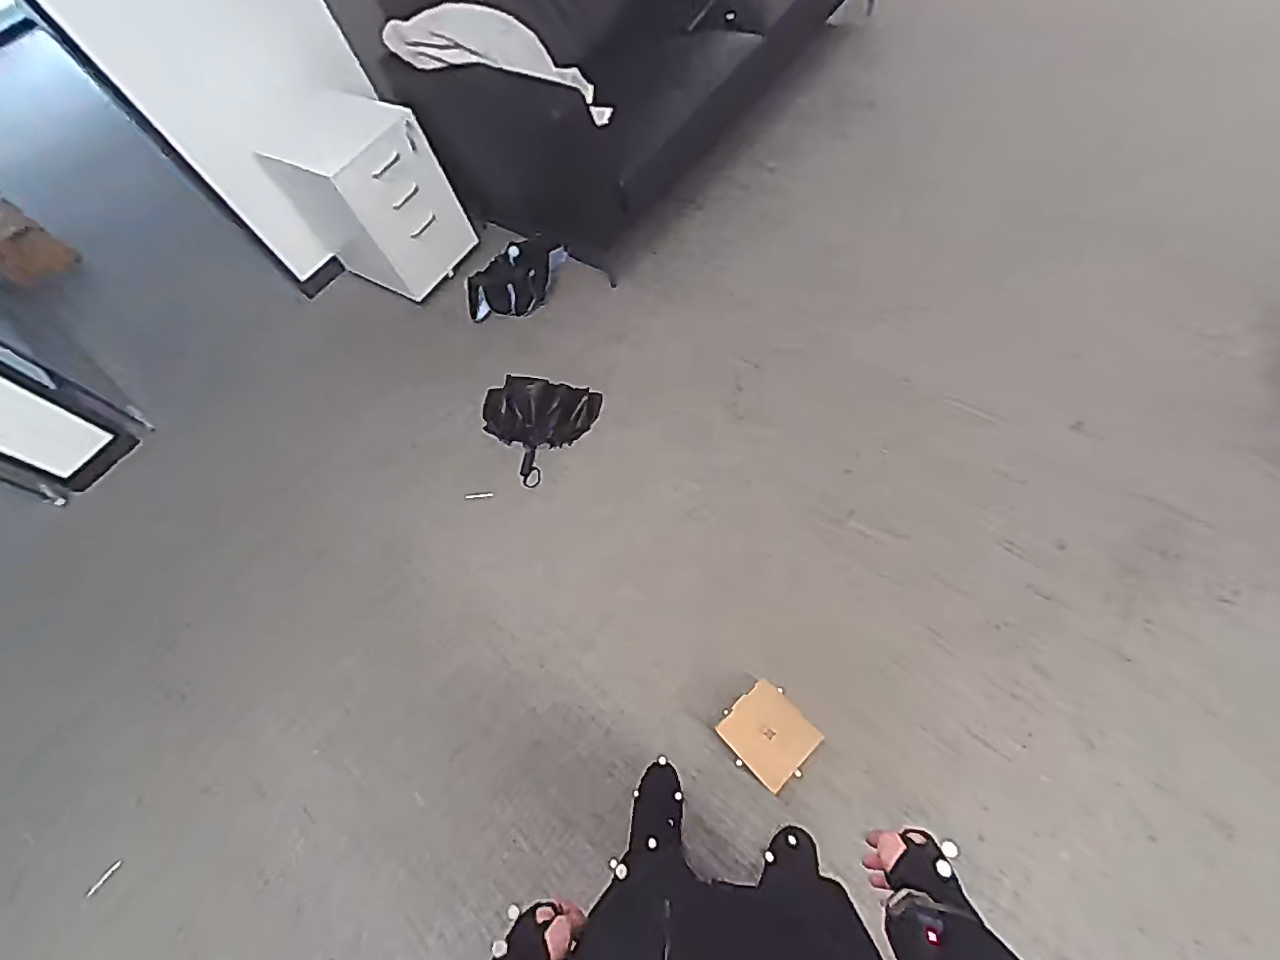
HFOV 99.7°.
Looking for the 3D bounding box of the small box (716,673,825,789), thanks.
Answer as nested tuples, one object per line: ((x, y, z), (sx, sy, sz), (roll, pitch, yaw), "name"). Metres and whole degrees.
((0.299, 0.583, 1.254), (0.168, 0.176, 0.179), (-44, 63, -10), "small box")
